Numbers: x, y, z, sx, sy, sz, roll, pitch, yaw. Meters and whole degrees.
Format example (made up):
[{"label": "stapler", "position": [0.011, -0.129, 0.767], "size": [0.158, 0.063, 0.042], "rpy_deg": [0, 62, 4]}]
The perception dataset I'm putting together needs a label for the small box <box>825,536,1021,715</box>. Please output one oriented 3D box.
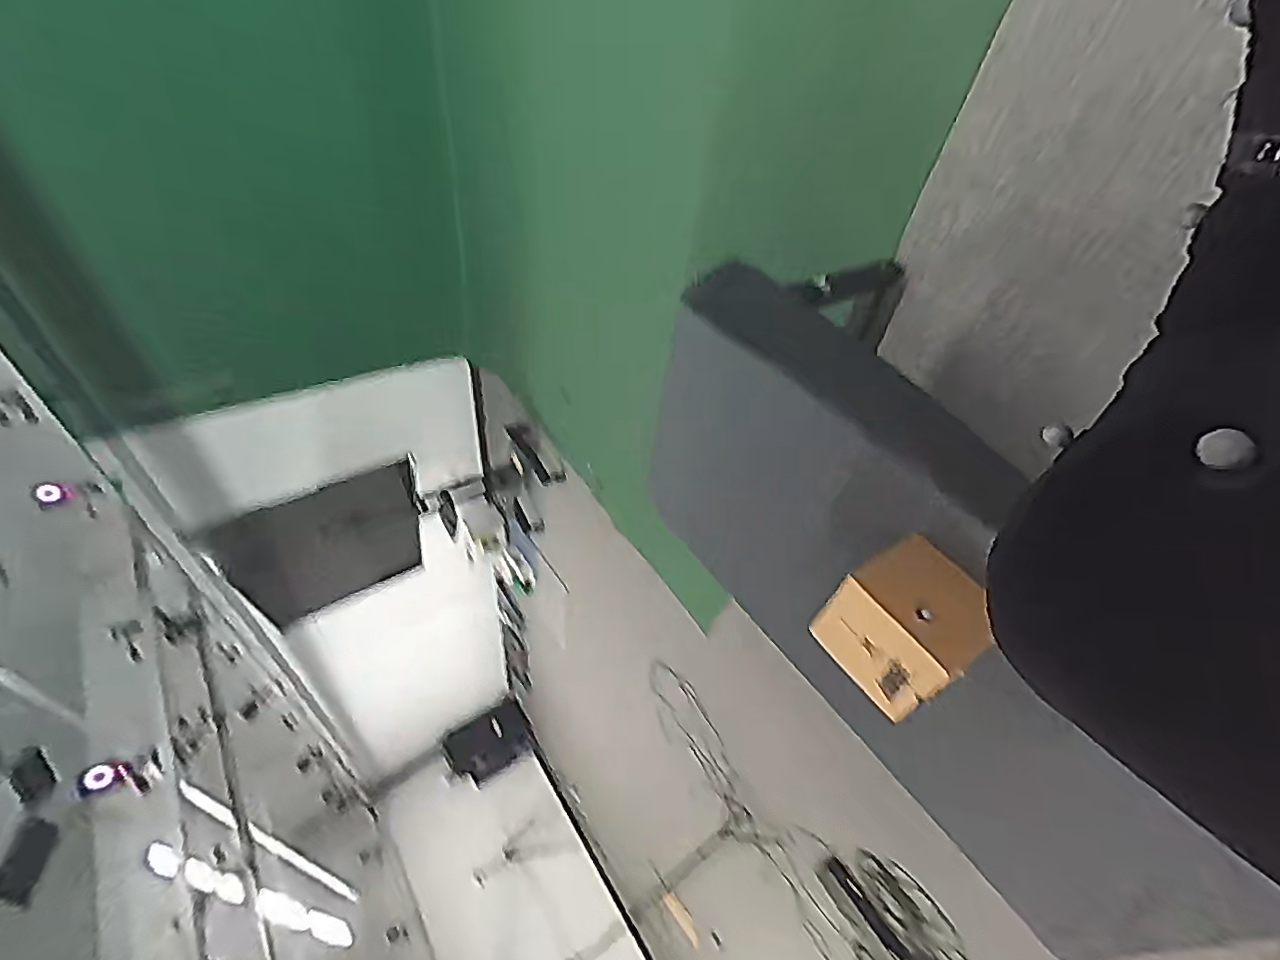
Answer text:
[{"label": "small box", "position": [0.430, 0.216, 0.833], "size": [0.179, 0.176, 0.168], "rpy_deg": [49, 146, 31]}]
